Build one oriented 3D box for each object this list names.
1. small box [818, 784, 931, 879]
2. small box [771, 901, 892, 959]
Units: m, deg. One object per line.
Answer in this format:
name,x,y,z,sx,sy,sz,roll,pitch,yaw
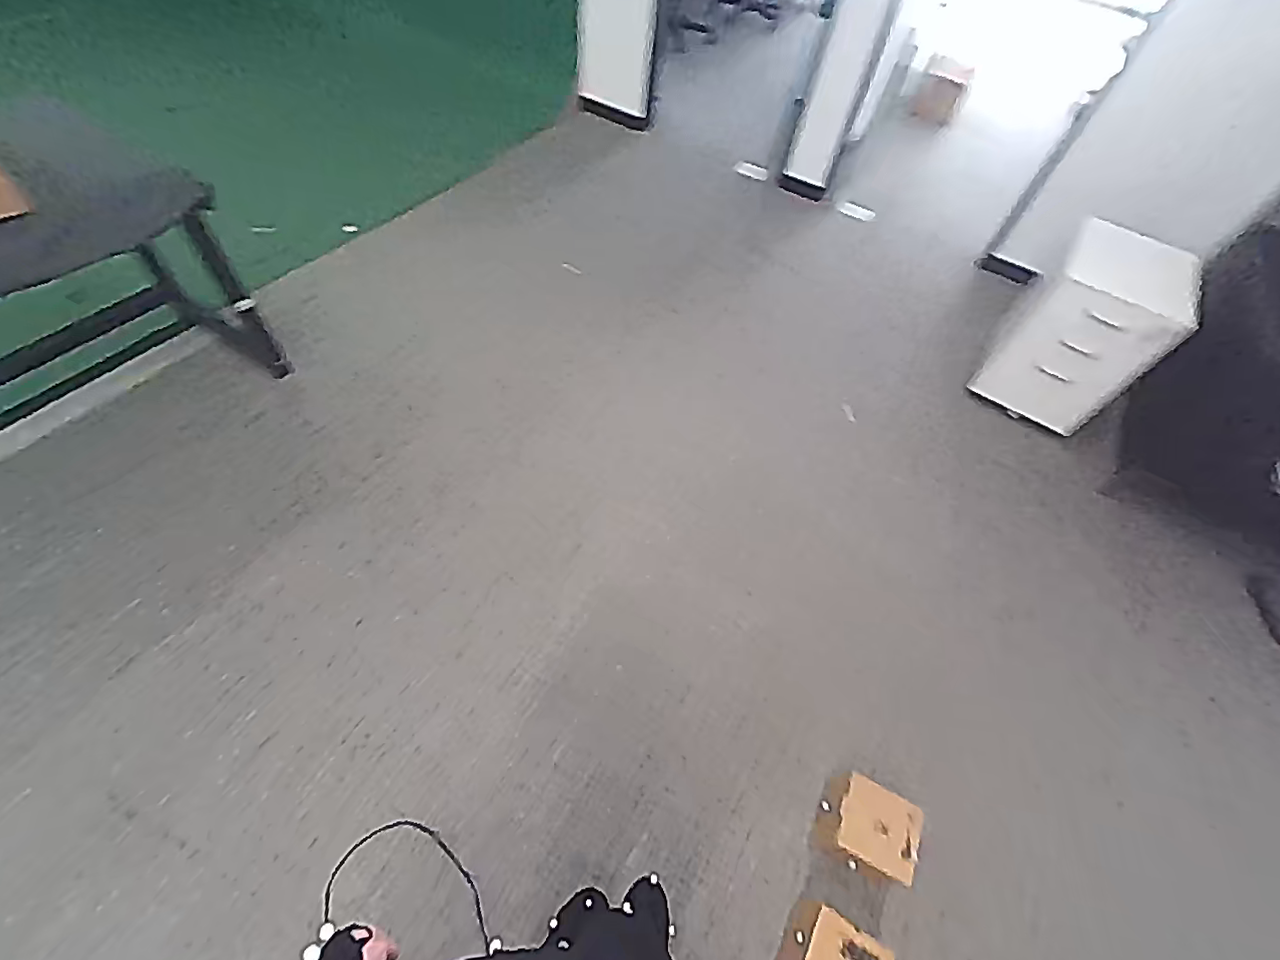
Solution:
small box,0.544,0.837,1.285,0.168,0.176,0.179,3,53,-8
small box,0.389,1.028,1.135,0.168,0.176,0.179,32,56,17
